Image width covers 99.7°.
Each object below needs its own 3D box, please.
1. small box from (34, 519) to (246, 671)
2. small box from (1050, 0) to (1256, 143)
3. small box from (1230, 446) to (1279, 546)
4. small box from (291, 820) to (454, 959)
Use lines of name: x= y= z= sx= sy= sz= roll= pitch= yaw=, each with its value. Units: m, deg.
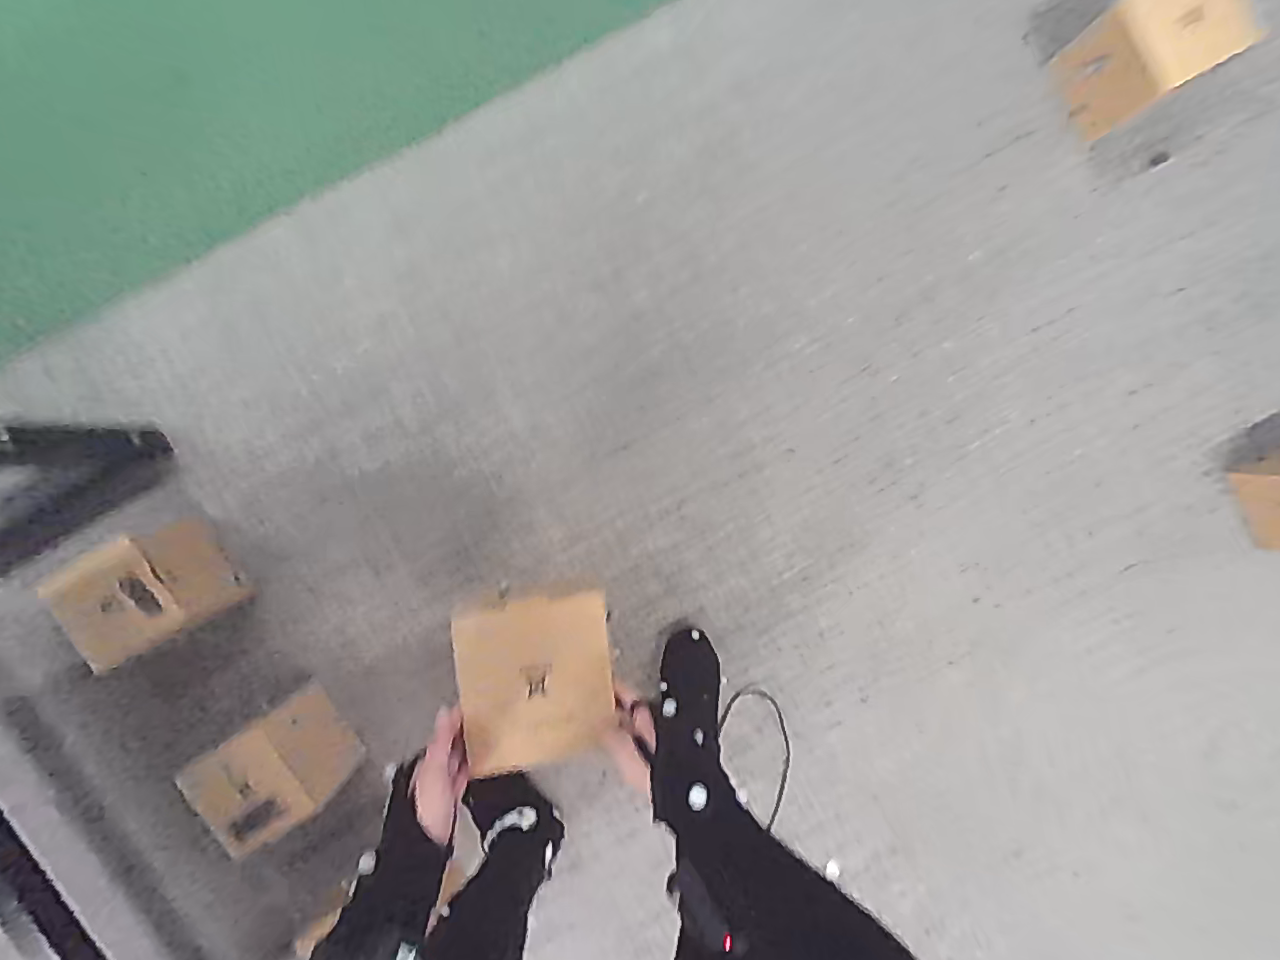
small box: x=-0.819 y=0.181 z=0.915 sx=0.179 sy=0.176 sz=0.168 roll=-32 pitch=93 yaw=1
small box: x=0.854 y=-0.727 z=0.925 sx=0.179 sy=0.176 sz=0.168 roll=-30 pitch=93 yaw=-1
small box: x=1.251 y=0.024 z=0.978 sx=0.168 sy=0.176 sz=0.179 roll=-28 pitch=93 yaw=0
small box: x=-0.455 y=0.760 z=0.960 sx=0.179 sy=0.176 sz=0.168 roll=-38 pitch=94 yaw=0
